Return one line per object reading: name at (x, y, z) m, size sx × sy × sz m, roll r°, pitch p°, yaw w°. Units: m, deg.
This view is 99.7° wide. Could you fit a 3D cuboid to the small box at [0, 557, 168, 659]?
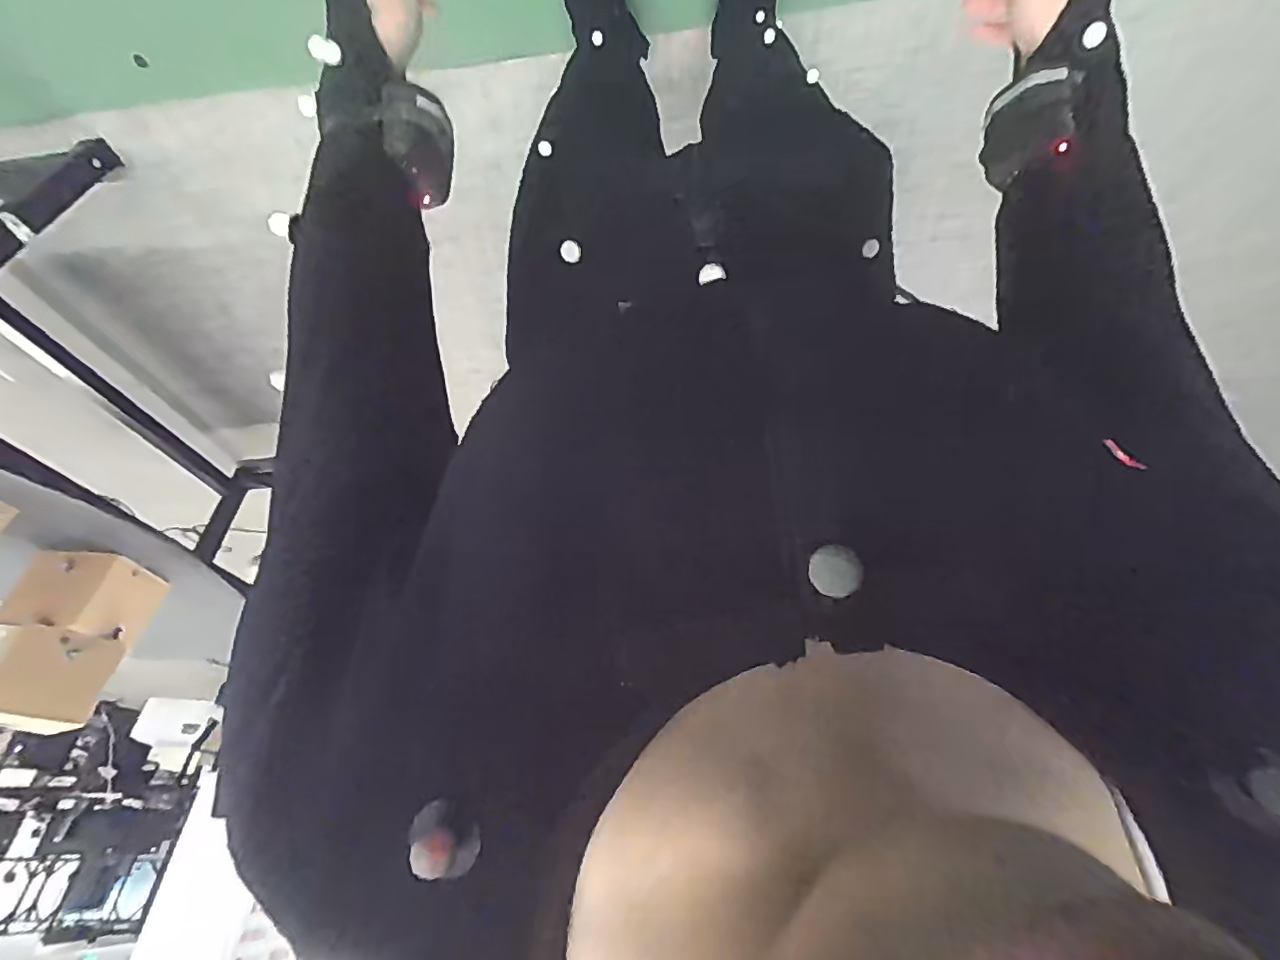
small box at (-1.204, 0.279, 1.181) m, size 0.179 × 0.176 × 0.168 m, roll 2°, pitch 145°, yaw -1°
